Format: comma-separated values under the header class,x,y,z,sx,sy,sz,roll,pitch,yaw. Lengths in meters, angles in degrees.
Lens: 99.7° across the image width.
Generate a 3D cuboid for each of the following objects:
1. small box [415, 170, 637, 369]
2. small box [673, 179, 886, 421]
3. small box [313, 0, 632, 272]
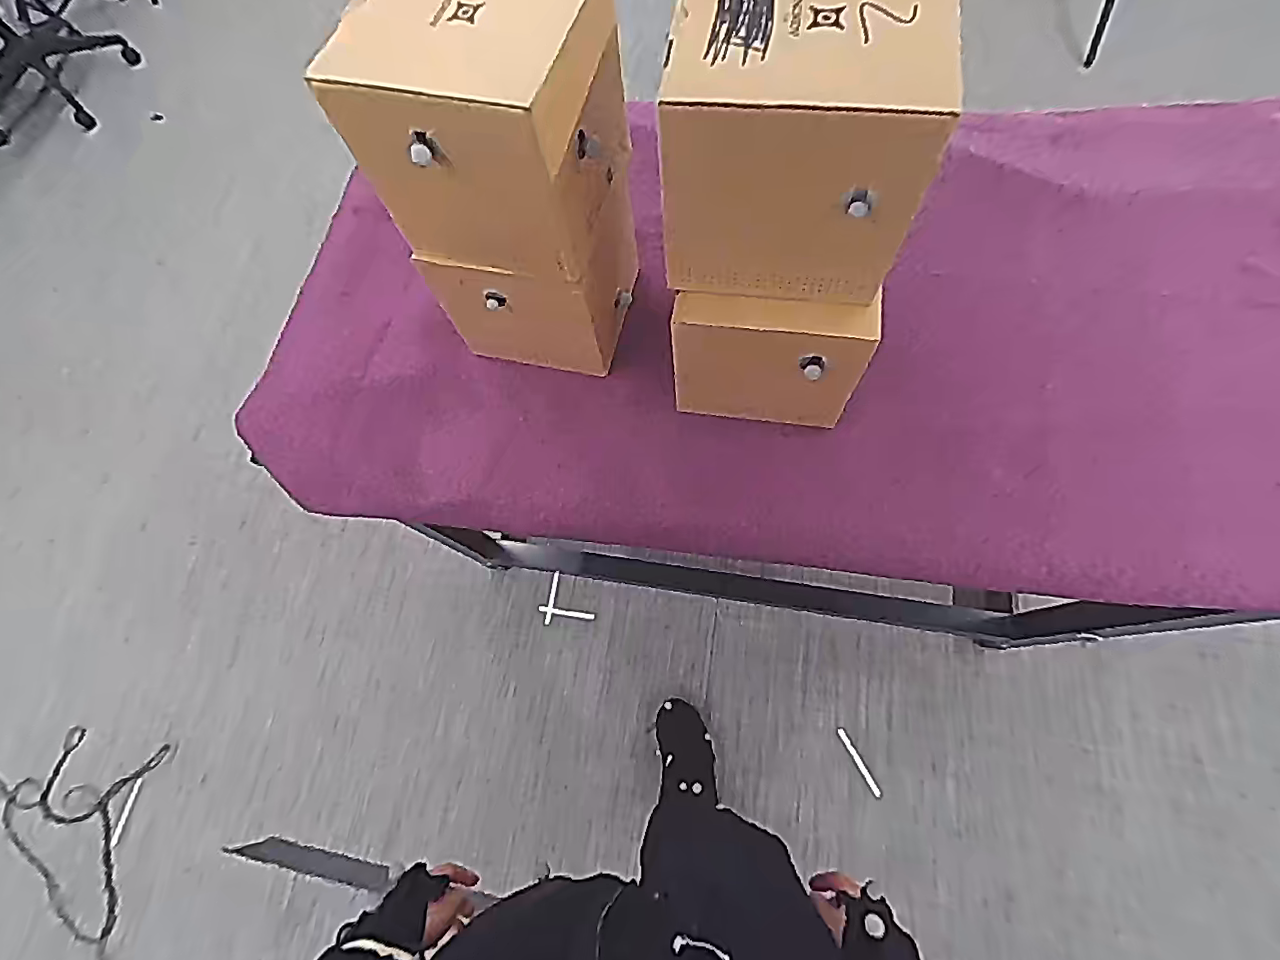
class,x,y,z,sx,sy,sz,roll,pitch,yaw
small box,-0.110,-0.244,0.609,0.179,0.176,0.168,12,71,9
small box,0.135,-0.174,0.559,0.179,0.176,0.168,7,70,9
small box,-0.115,-0.303,0.457,0.179,0.176,0.168,15,72,11
